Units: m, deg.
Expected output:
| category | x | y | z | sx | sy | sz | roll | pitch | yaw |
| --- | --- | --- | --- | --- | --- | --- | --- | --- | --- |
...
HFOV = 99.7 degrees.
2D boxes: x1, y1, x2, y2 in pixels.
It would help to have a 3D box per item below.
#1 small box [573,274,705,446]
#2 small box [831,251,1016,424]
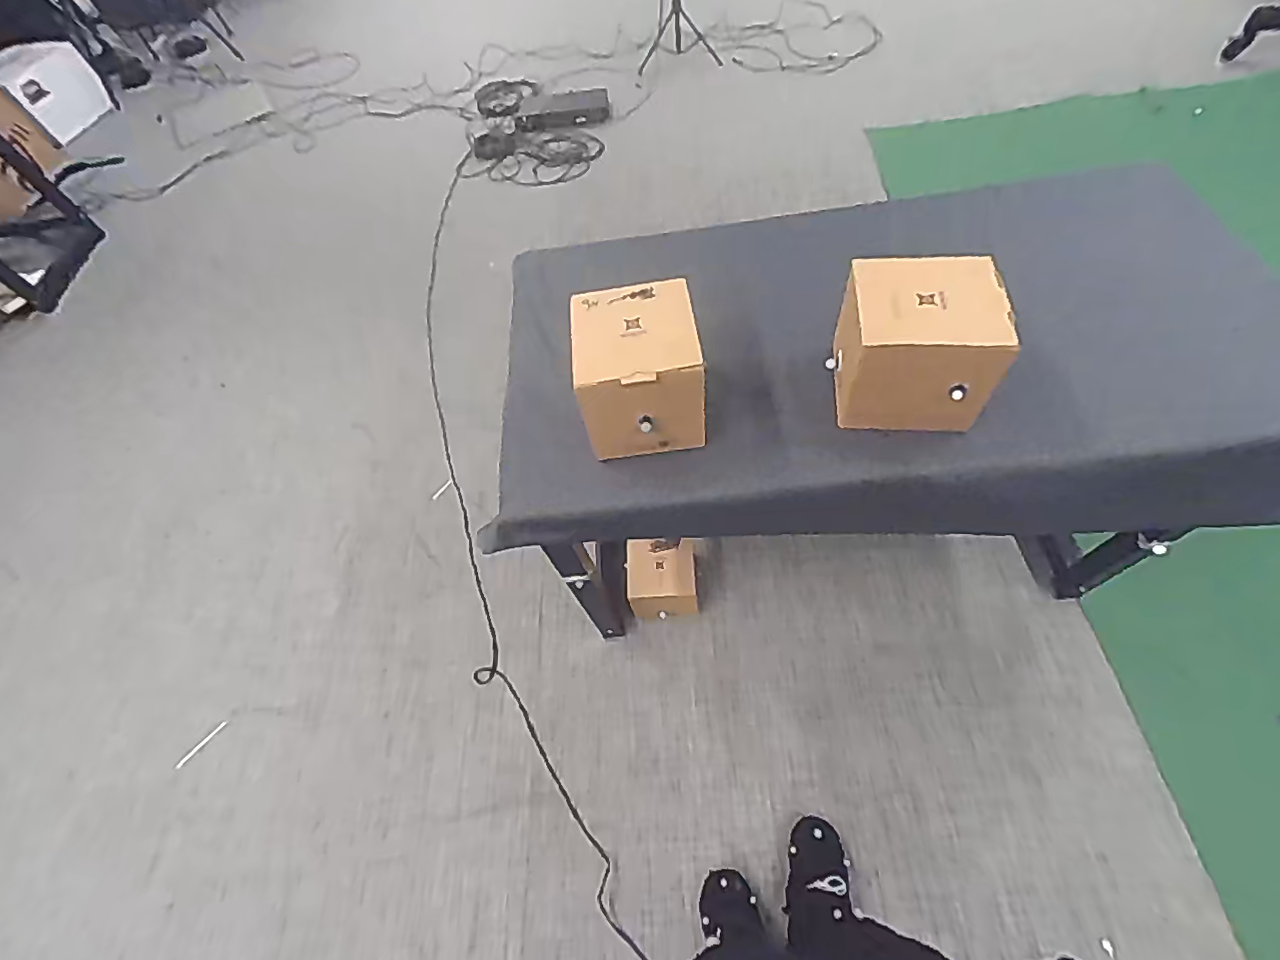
| category | x | y | z | sx | sy | sz | roll | pitch | yaw |
| --- | --- | --- | --- | --- | --- | --- | --- | --- | --- |
| small box | 0.002 | -0.163 | 0.782 | 0.168 | 0.176 | 0.179 | -8 | 58 | 2 |
| small box | 0.374 | -0.191 | 0.752 | 0.179 | 0.176 | 0.168 | 1 | 58 | 10 |
